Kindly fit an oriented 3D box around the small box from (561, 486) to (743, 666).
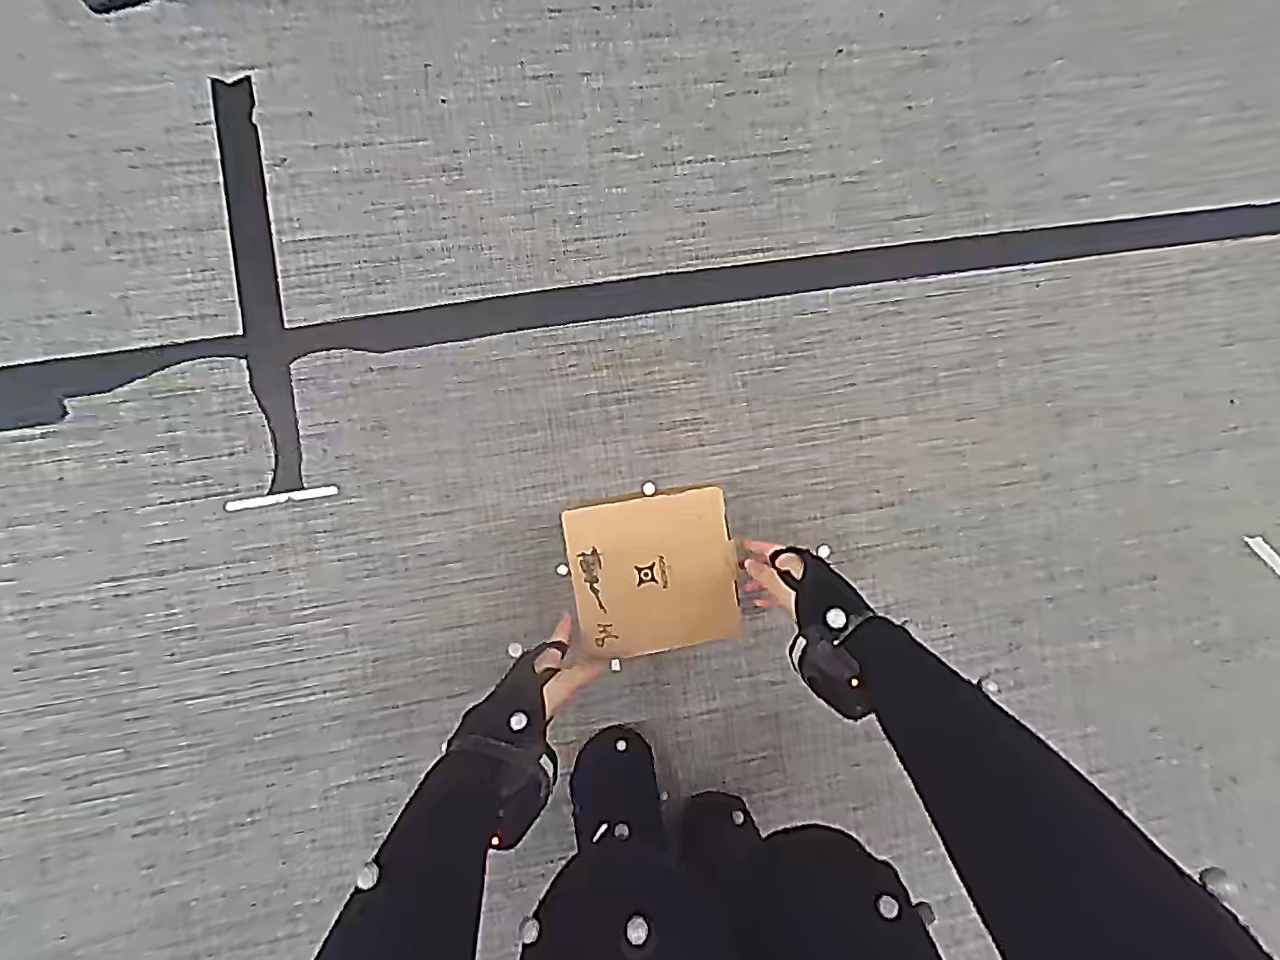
[{"bbox_3d":[0.004,0.099,0.642,0.179,0.176,0.168,-9,90,-6],"label":"small box"}]
